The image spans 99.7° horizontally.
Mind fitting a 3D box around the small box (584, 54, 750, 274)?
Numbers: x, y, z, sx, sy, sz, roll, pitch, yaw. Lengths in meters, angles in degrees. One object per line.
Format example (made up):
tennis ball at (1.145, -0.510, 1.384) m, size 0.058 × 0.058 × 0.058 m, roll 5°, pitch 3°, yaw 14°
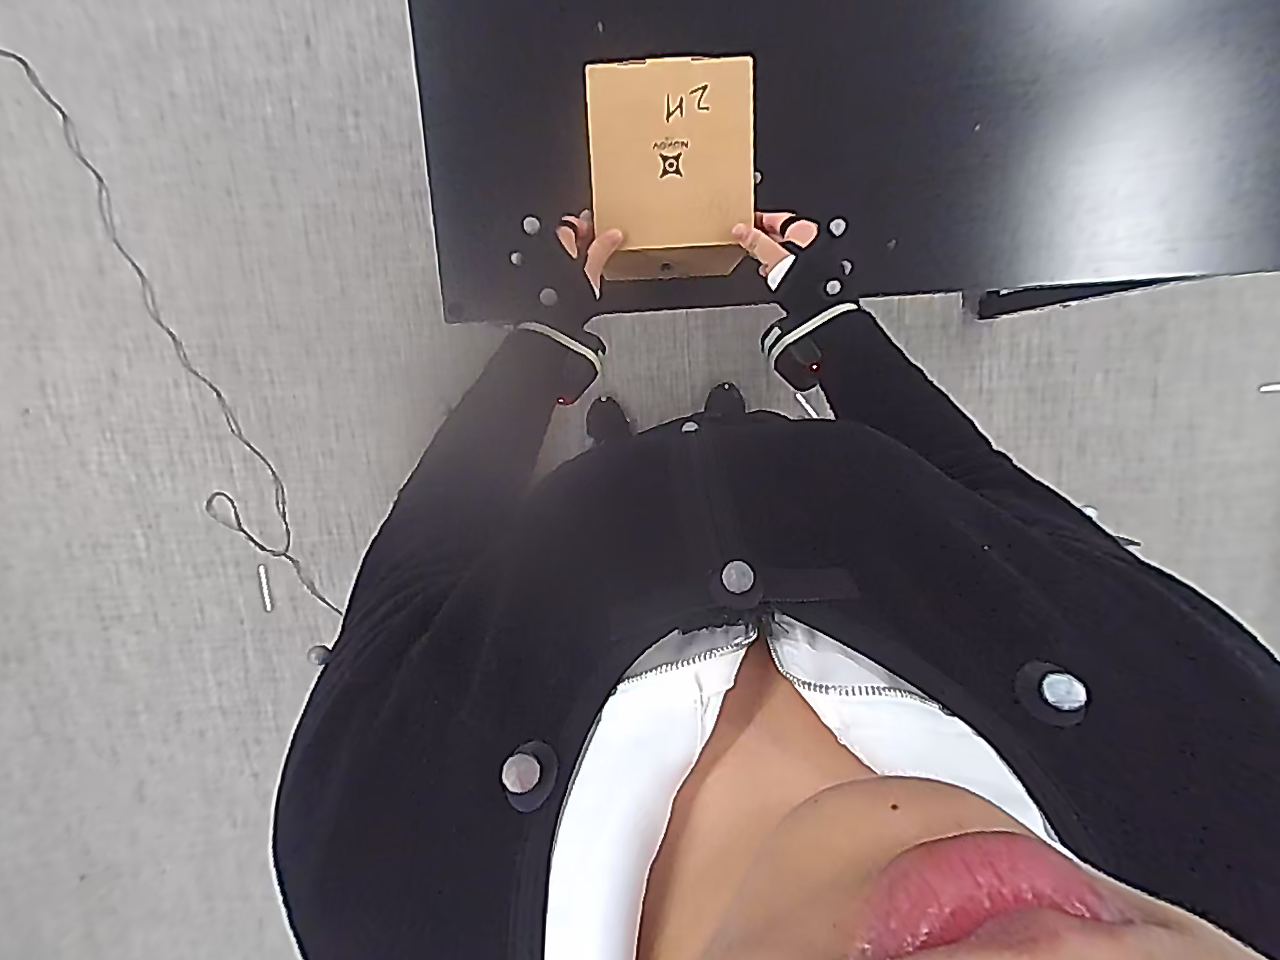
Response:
small box at (0.031, -0.341, 0.621) m, size 0.168 × 0.176 × 0.179 m, roll -3°, pitch 100°, yaw 1°
